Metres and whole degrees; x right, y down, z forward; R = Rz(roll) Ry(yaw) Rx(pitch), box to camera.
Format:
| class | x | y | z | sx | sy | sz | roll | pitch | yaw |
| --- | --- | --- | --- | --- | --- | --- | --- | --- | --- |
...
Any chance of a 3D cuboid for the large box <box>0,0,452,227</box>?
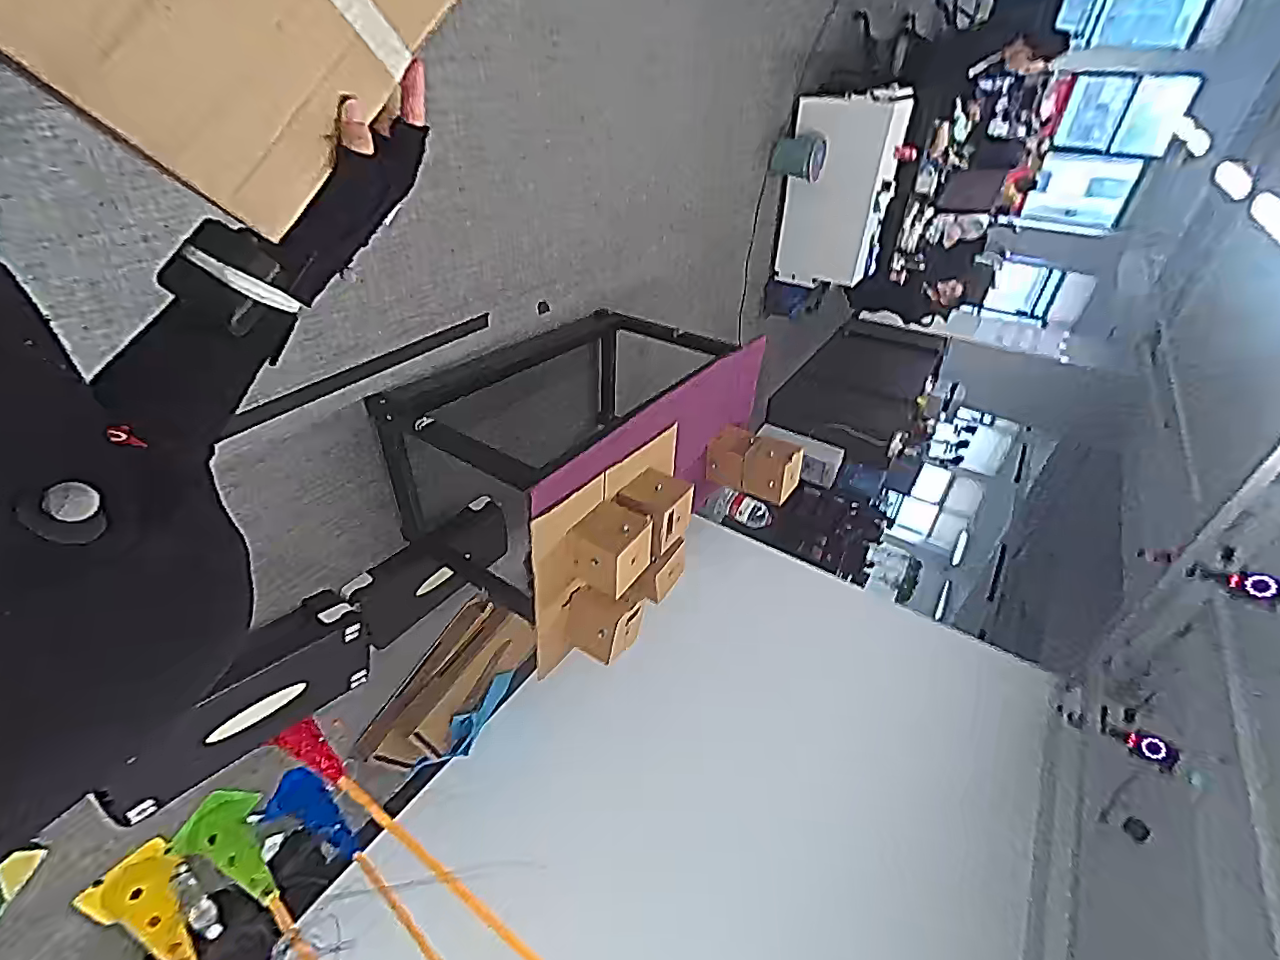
| class | x | y | z | sx | sy | sz | roll | pitch | yaw |
| --- | --- | --- | --- | --- | --- | --- | --- | --- | --- |
| large box | -0.365 | -0.436 | 0.301 | 0.320 | 0.320 | 0.408 | -54 | 151 | -2 |
